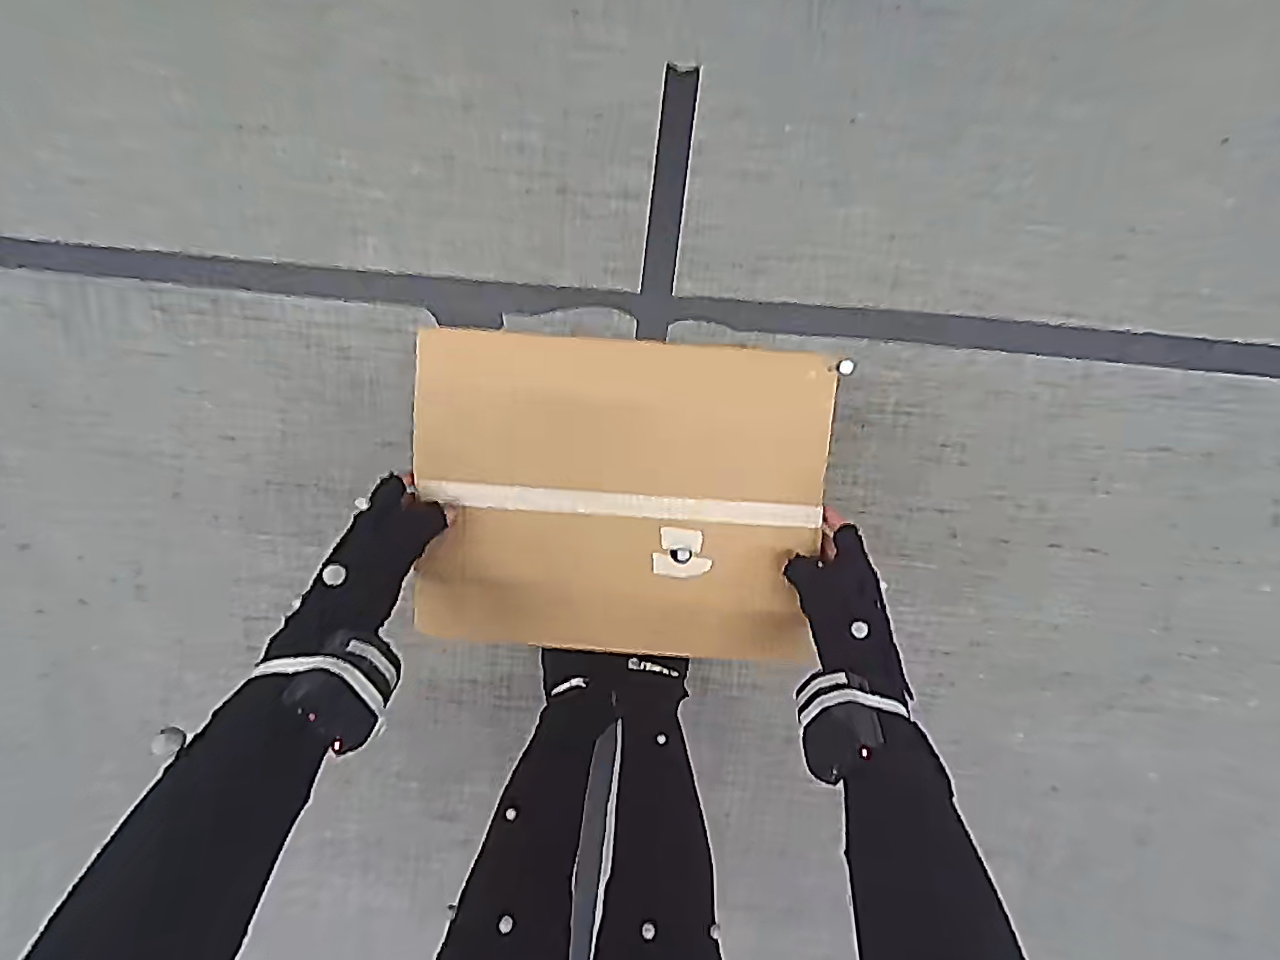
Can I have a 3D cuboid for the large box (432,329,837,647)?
[{"bbox_3d":[-0.013,-0.004,0.695,0.408,0.320,0.320,4,99,0],"label":"large box"}]
